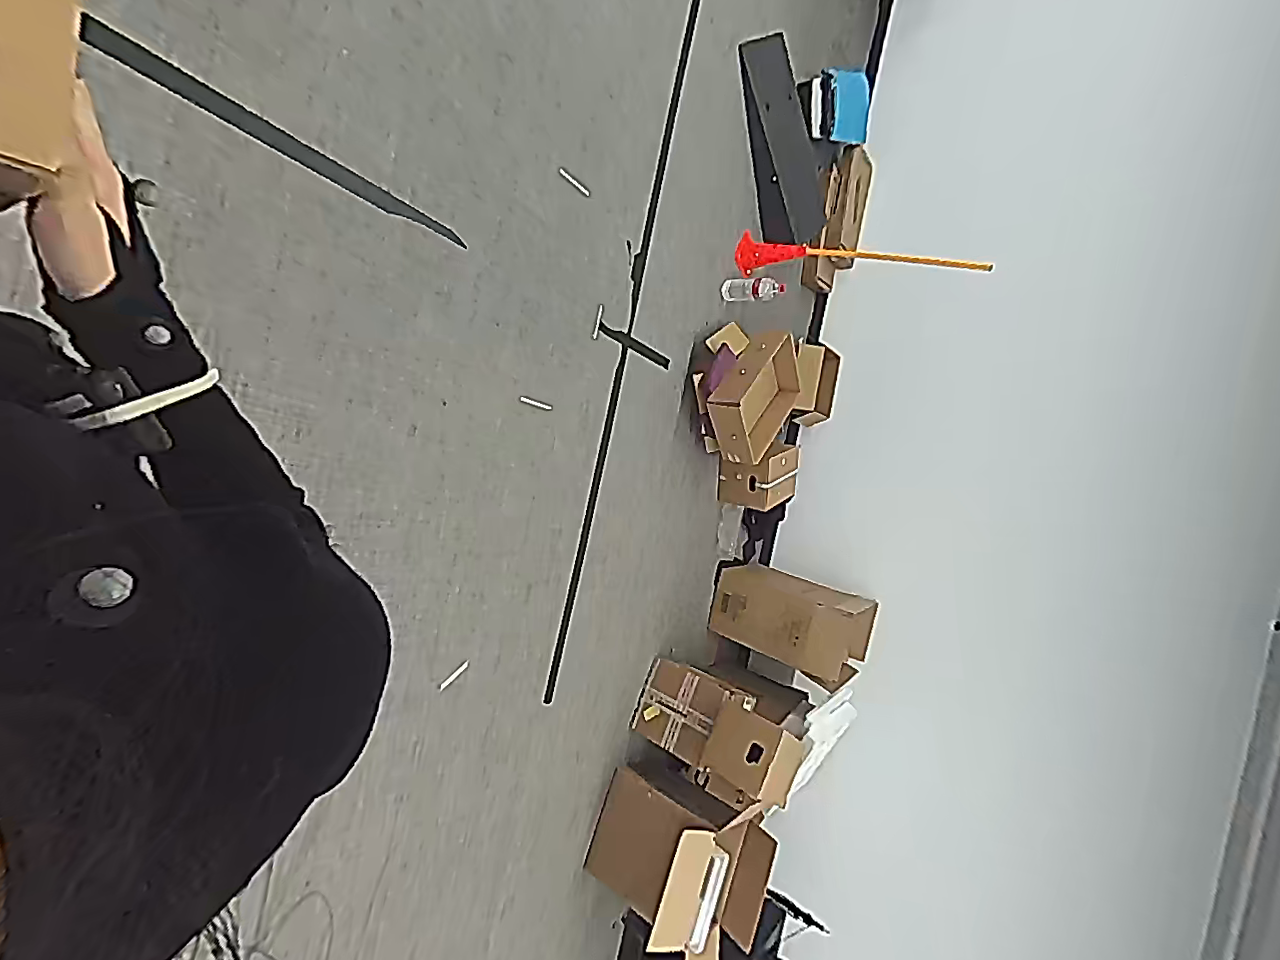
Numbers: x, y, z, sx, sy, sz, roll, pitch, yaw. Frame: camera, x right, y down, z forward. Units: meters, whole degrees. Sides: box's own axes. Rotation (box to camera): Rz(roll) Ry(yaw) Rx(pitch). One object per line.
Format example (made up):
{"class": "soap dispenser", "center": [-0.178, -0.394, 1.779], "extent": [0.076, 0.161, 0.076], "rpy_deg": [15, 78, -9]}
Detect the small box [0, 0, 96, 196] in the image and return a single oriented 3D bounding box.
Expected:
{"class": "small box", "center": [-0.341, -0.233, 0.208], "extent": [0.168, 0.176, 0.179], "rpy_deg": [3, 99, -57]}
